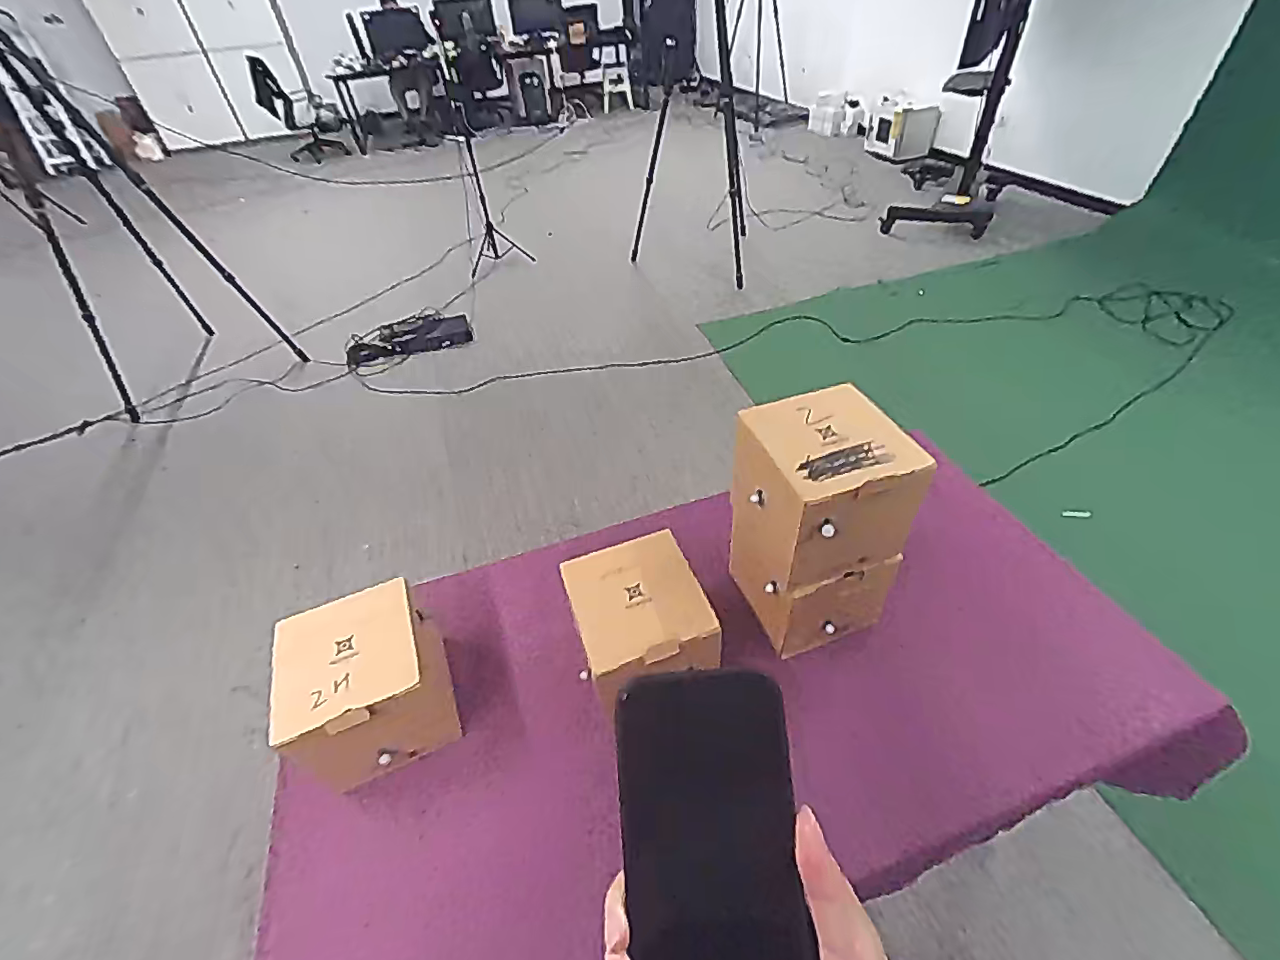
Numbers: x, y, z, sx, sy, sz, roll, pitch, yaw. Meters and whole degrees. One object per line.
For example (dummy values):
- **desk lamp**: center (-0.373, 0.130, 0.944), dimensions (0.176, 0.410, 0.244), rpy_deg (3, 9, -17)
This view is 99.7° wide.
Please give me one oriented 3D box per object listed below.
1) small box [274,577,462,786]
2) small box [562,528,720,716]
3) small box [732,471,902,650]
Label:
- **small box**: center (-0.355, 0.269, 0.724), dimensions (0.168, 0.176, 0.179), rpy_deg (-20, 47, -14)
- **small box**: center (0.002, 0.203, 0.755), dimensions (0.168, 0.176, 0.179), rpy_deg (-17, 45, -11)
- **small box**: center (0.248, 0.121, 0.810), dimensions (0.168, 0.176, 0.179), rpy_deg (-17, 46, -11)
